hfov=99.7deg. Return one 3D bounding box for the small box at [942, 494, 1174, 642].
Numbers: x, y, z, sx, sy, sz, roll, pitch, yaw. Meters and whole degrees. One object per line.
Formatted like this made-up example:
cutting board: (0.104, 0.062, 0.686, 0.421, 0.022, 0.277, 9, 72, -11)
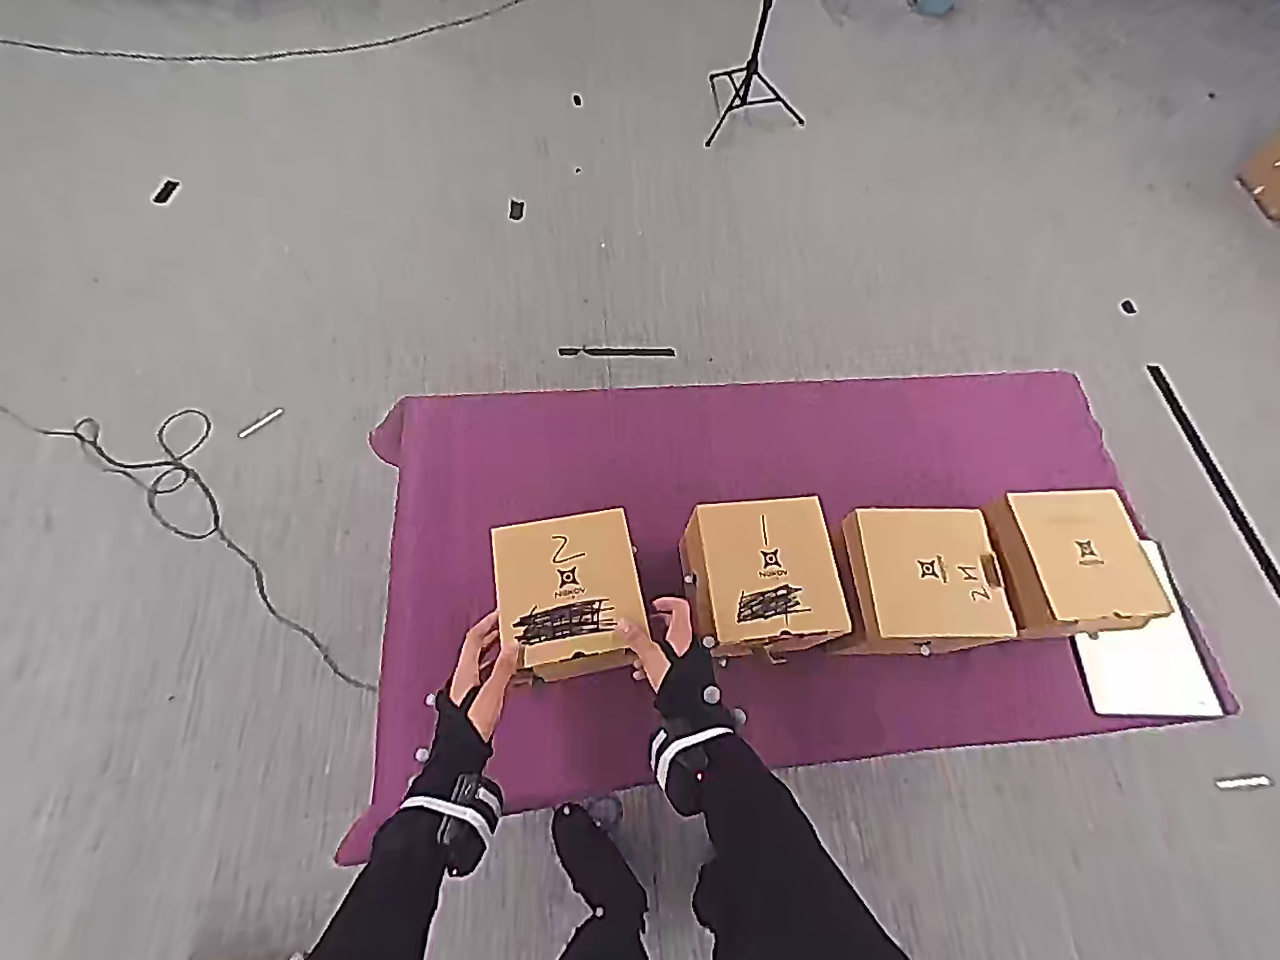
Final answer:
small box: (0.573, 0.132, 0.770, 0.168, 0.176, 0.179, -1, 65, -6)
